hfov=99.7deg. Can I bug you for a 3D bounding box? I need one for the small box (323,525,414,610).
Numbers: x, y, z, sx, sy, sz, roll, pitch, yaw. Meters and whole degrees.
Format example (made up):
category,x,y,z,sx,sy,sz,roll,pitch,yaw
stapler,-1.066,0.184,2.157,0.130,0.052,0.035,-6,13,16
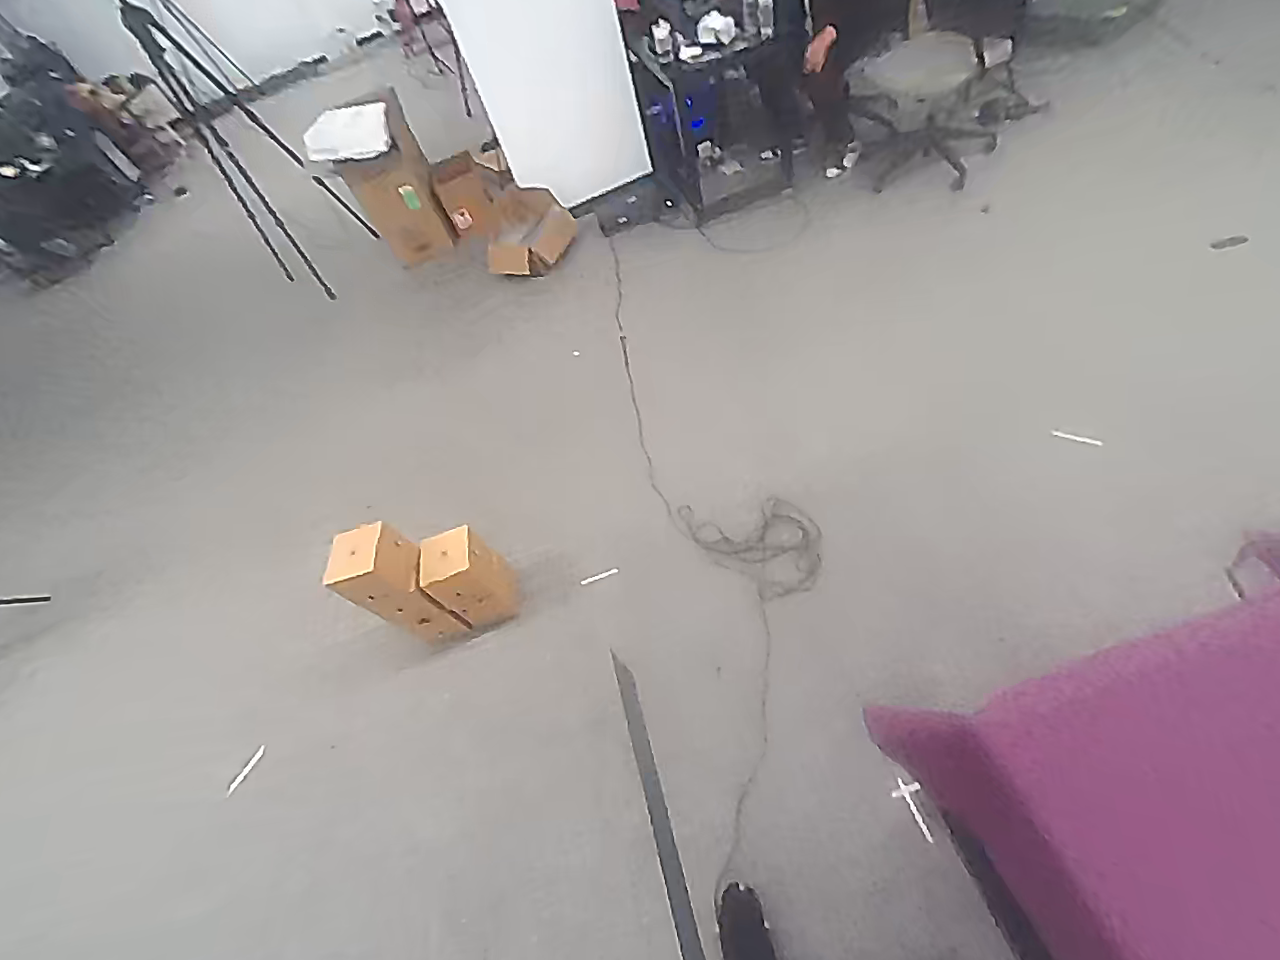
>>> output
category,x,y,z,sx,sy,sz,roll,pitch,yaw
small box,-0.803,0.265,1.622,0.168,0.176,0.179,-16,51,8
